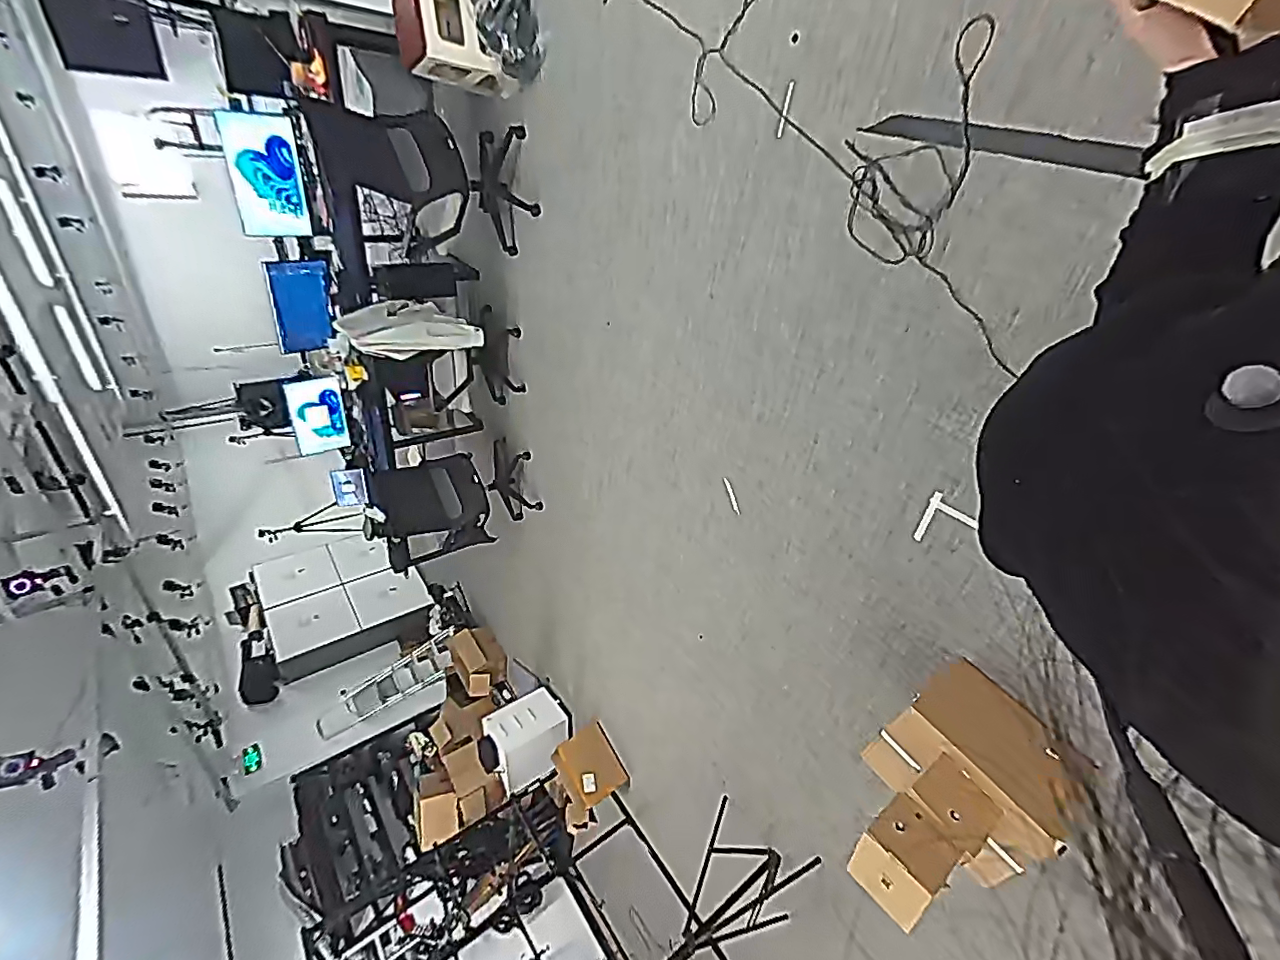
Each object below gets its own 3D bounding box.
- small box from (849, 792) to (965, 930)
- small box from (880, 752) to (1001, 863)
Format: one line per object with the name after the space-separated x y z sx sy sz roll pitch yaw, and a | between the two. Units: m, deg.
0.632 0.889 1.278 0.168 0.176 0.179 34 132 43 | small box
0.759 0.832 1.363 0.179 0.176 0.168 48 139 32 | small box
